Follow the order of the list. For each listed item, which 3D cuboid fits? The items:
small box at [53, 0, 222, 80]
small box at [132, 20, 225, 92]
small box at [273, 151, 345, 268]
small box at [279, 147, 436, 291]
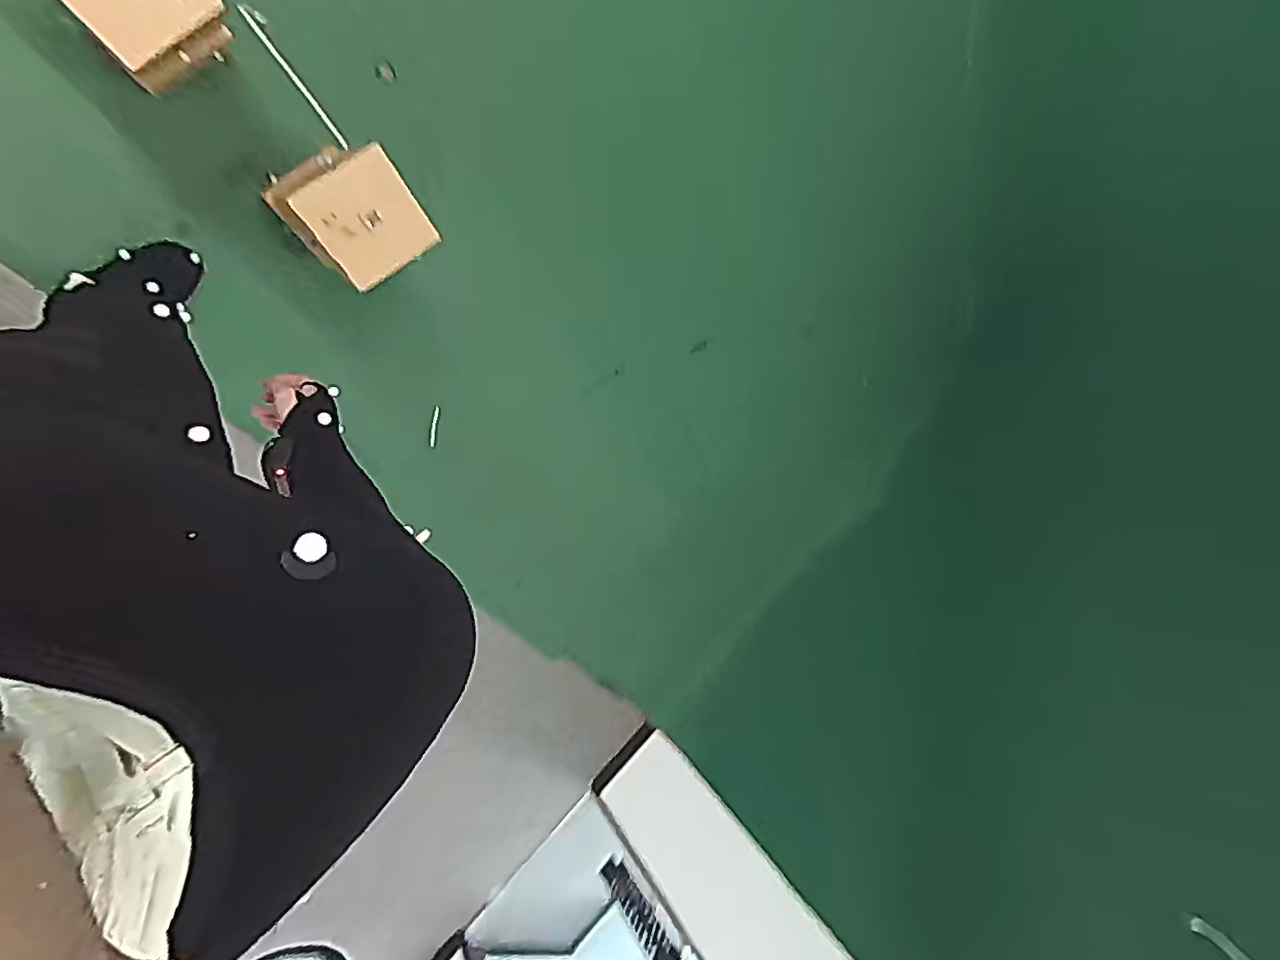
[{"bbox_3d":[-0.780,-0.745,0.815,0.179,0.176,0.168,-45,133,-9],"label":"small box"},{"bbox_3d":[-0.865,-0.811,0.939,0.179,0.176,0.168,-44,133,-12],"label":"small box"},{"bbox_3d":[-0.595,-0.536,1.080,0.179,0.176,0.168,-41,133,-13],"label":"small box"},{"bbox_3d":[-0.504,-0.467,0.960,0.179,0.176,0.168,-40,133,-12],"label":"small box"}]
